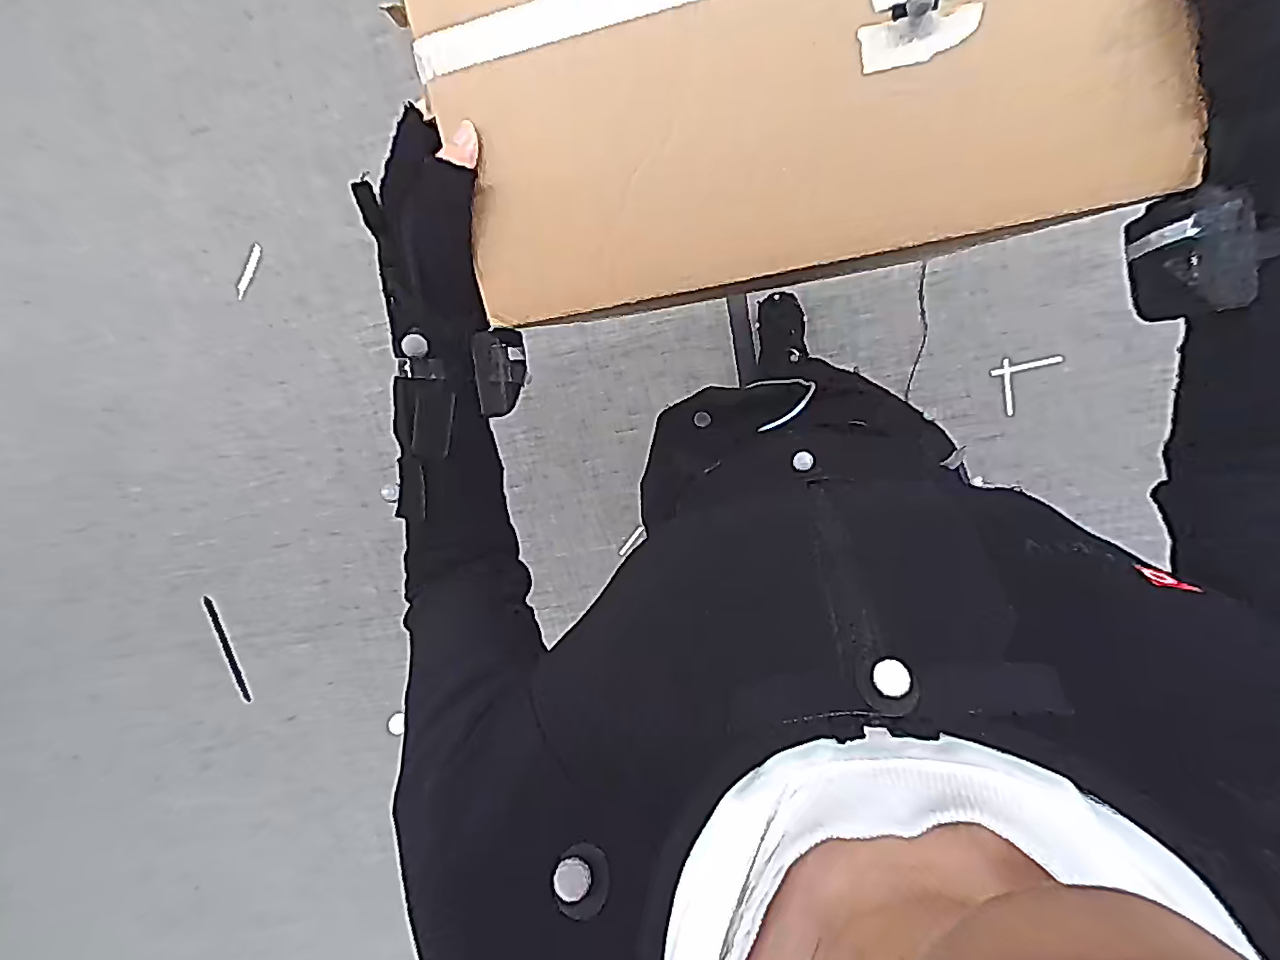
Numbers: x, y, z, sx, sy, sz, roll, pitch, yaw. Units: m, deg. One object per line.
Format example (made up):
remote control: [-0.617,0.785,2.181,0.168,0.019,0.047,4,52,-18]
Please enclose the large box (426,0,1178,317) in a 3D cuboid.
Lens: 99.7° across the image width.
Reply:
large box: [0.088,-0.329,0.437,0.408,0.320,0.320,-9,106,10]
